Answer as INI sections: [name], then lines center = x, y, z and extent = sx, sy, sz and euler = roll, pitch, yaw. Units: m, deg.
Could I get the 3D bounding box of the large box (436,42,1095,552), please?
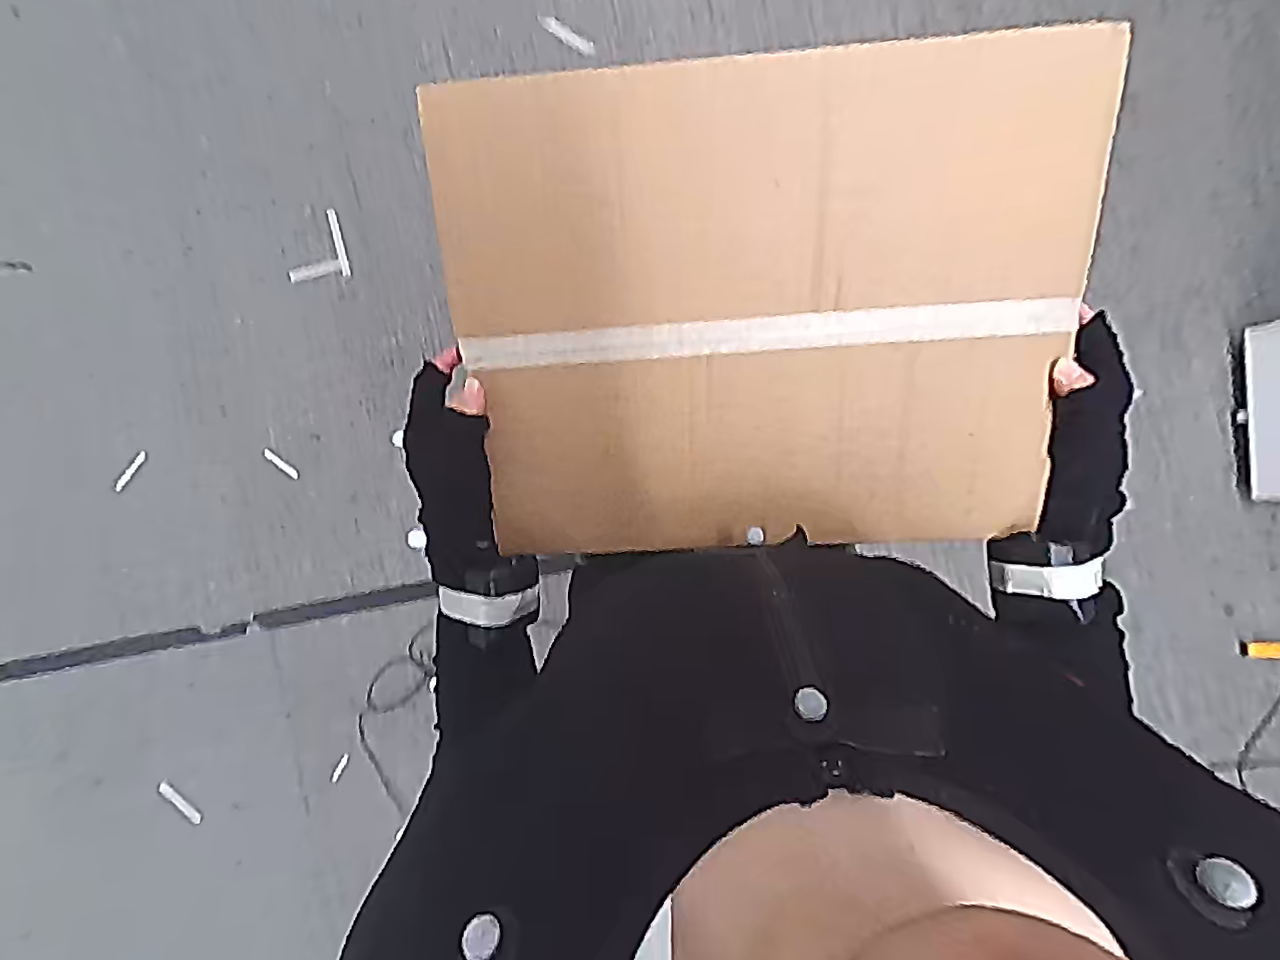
[large box]
center = 0.084, -0.148, 0.515
extent = 0.408, 0.320, 0.320
euler = -3, 111, 3
